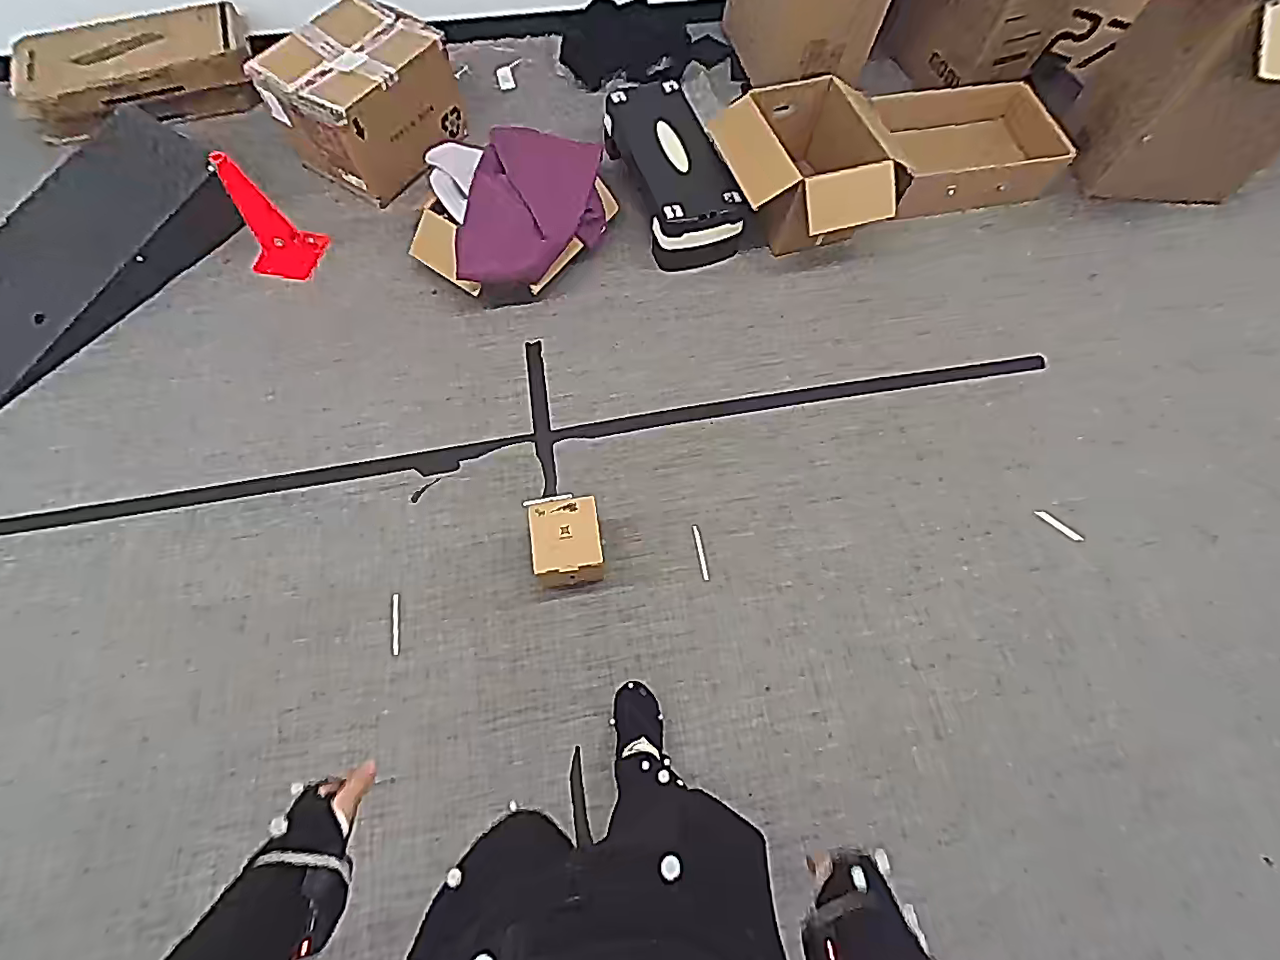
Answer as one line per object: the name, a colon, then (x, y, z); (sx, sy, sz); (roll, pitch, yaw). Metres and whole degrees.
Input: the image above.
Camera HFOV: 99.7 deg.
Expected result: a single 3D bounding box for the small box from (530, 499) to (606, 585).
small box: (-0.179, 0.164, 1.368); (0.168, 0.176, 0.179); (-8, 69, -5)
